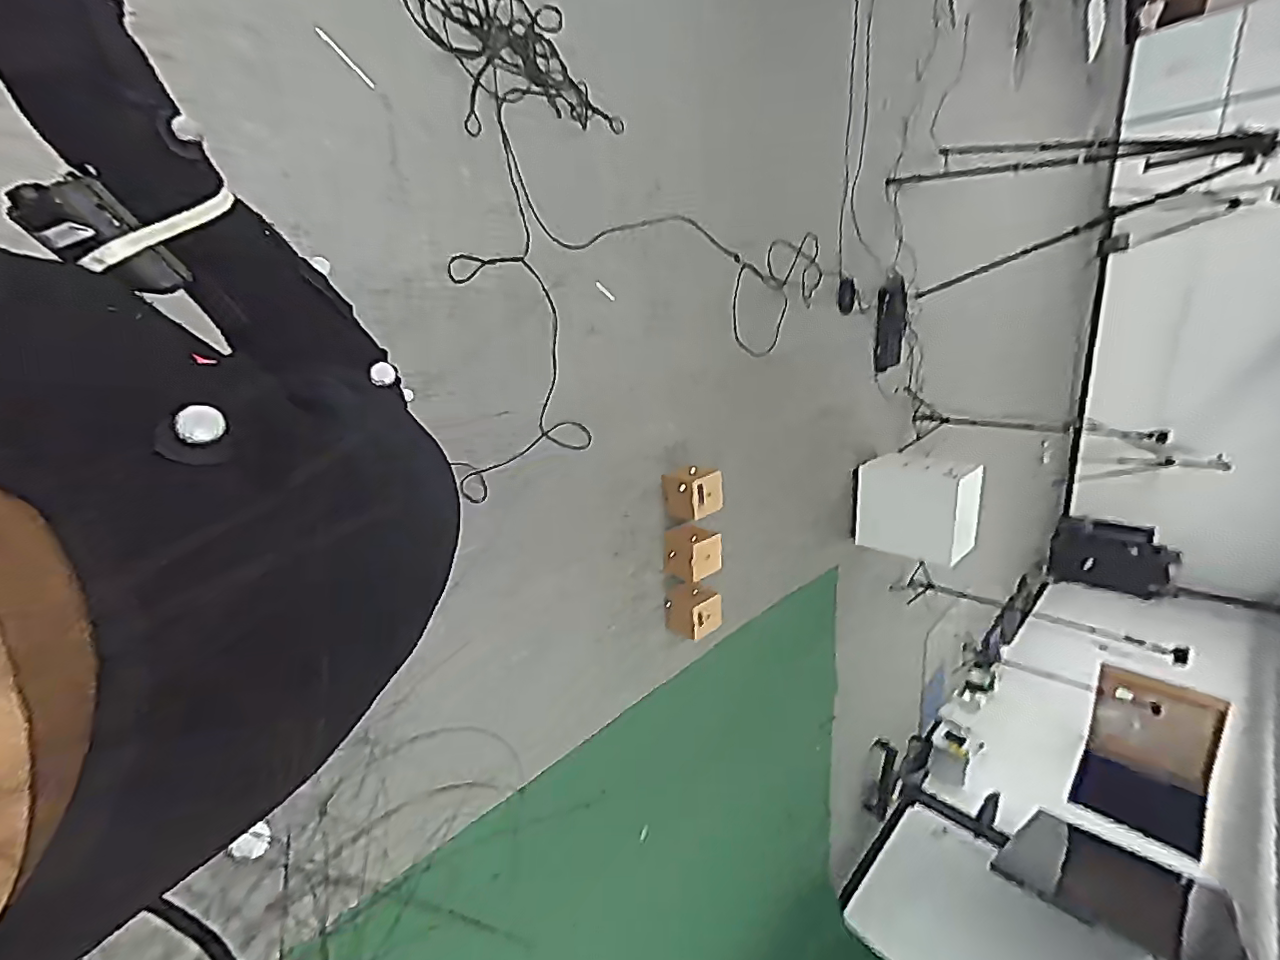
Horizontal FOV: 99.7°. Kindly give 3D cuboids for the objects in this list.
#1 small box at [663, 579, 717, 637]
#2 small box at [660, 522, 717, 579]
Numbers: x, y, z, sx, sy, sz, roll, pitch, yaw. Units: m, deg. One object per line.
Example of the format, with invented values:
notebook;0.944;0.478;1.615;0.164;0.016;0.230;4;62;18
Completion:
small box;0.213;0.550;2.344;0.179;0.176;0.168;-19;112;-41
small box;0.204;0.290;2.275;0.179;0.176;0.168;-18;112;-40
